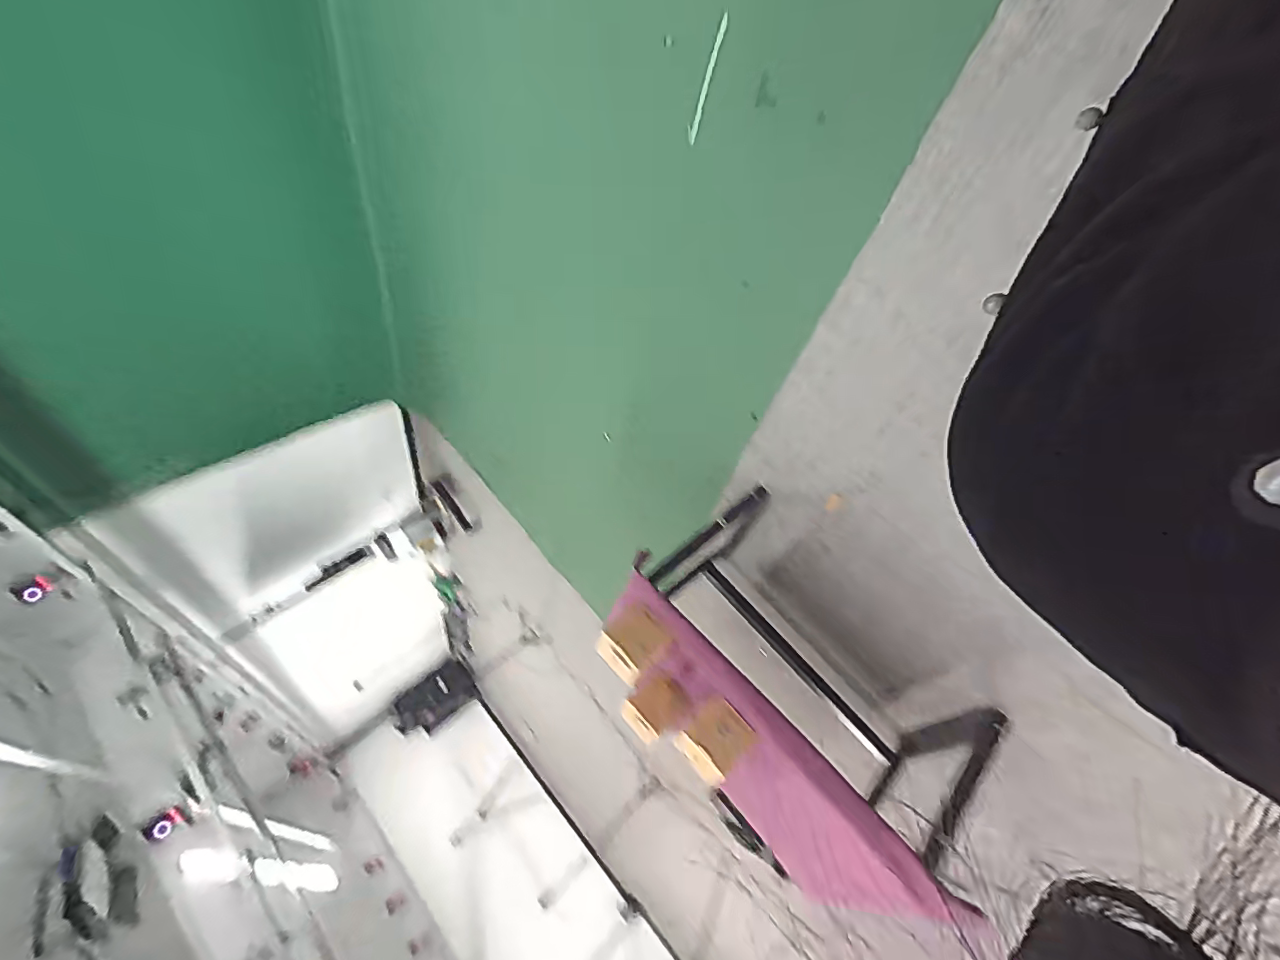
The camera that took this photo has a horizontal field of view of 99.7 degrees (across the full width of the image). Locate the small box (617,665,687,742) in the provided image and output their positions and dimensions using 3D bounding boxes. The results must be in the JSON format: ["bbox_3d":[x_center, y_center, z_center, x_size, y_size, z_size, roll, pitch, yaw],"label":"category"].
[{"bbox_3d":[0.046,0.794,1.929,0.168,0.176,0.179,45,146,19],"label":"small box"}]

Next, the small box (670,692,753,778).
[{"bbox_3d":[0.226,0.791,1.686,0.168,0.176,0.179,46,147,17],"label":"small box"}]
